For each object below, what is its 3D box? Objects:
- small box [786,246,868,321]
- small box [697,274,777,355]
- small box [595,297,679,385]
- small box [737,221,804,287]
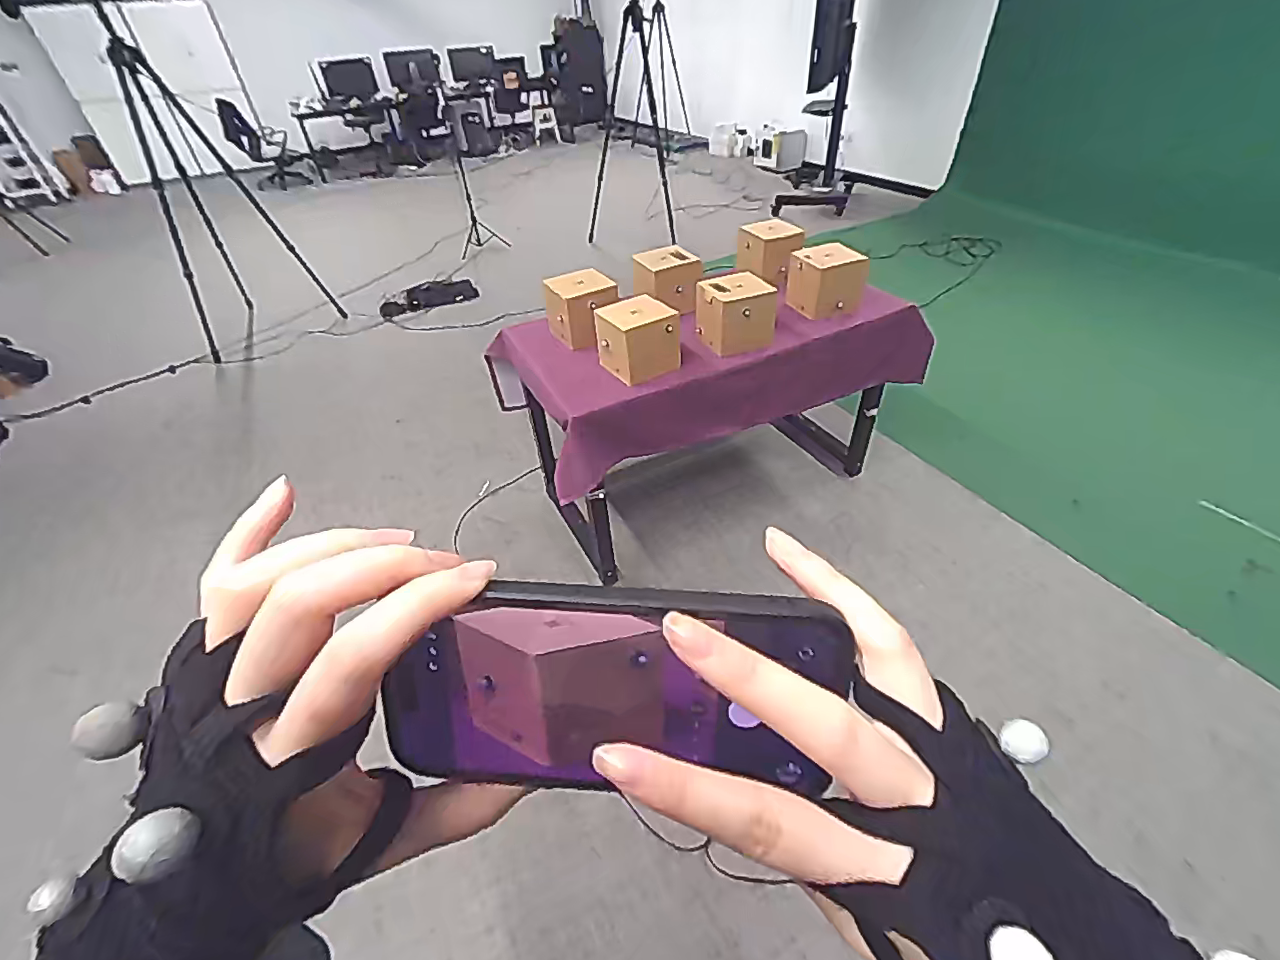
[{"bbox_3d":[0.592,-0.629,1.733,0.179,0.176,0.168,-16,42,-14],"label":"small box"},{"bbox_3d":[0.280,-0.485,1.594,0.179,0.176,0.168,-16,43,-15],"label":"small box"},{"bbox_3d":[-0.004,-0.386,1.505,0.179,0.176,0.168,-24,45,-23],"label":"small box"},{"bbox_3d":[0.462,-0.813,1.952,0.168,0.176,0.179,-19,44,-15],"label":"small box"}]
